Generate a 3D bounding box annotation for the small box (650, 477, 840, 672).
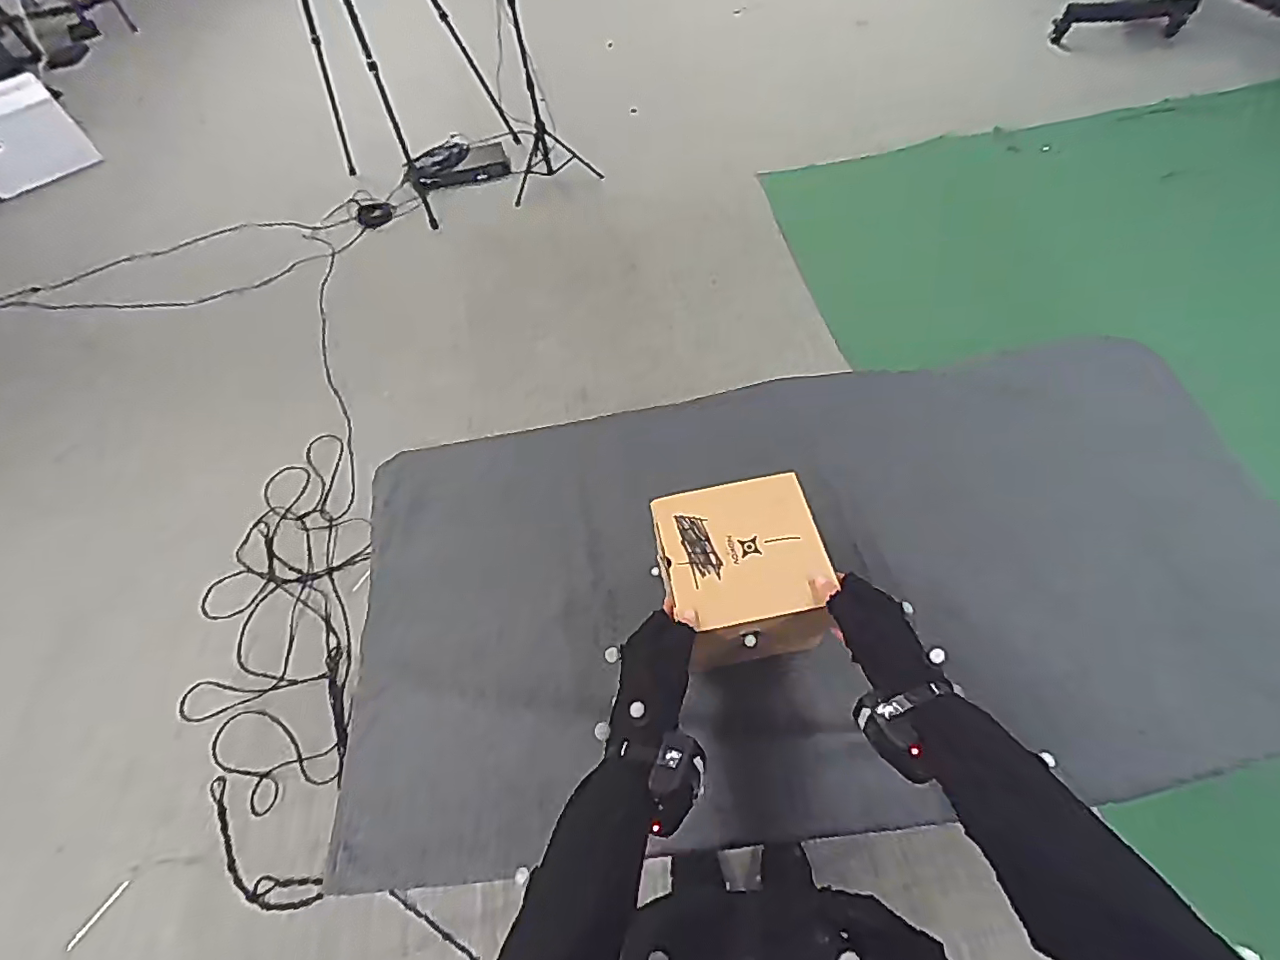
[{"bbox_3d":[0.117,0.122,0.661,0.179,0.176,0.168,-11,57,-1],"label":"small box"}]
